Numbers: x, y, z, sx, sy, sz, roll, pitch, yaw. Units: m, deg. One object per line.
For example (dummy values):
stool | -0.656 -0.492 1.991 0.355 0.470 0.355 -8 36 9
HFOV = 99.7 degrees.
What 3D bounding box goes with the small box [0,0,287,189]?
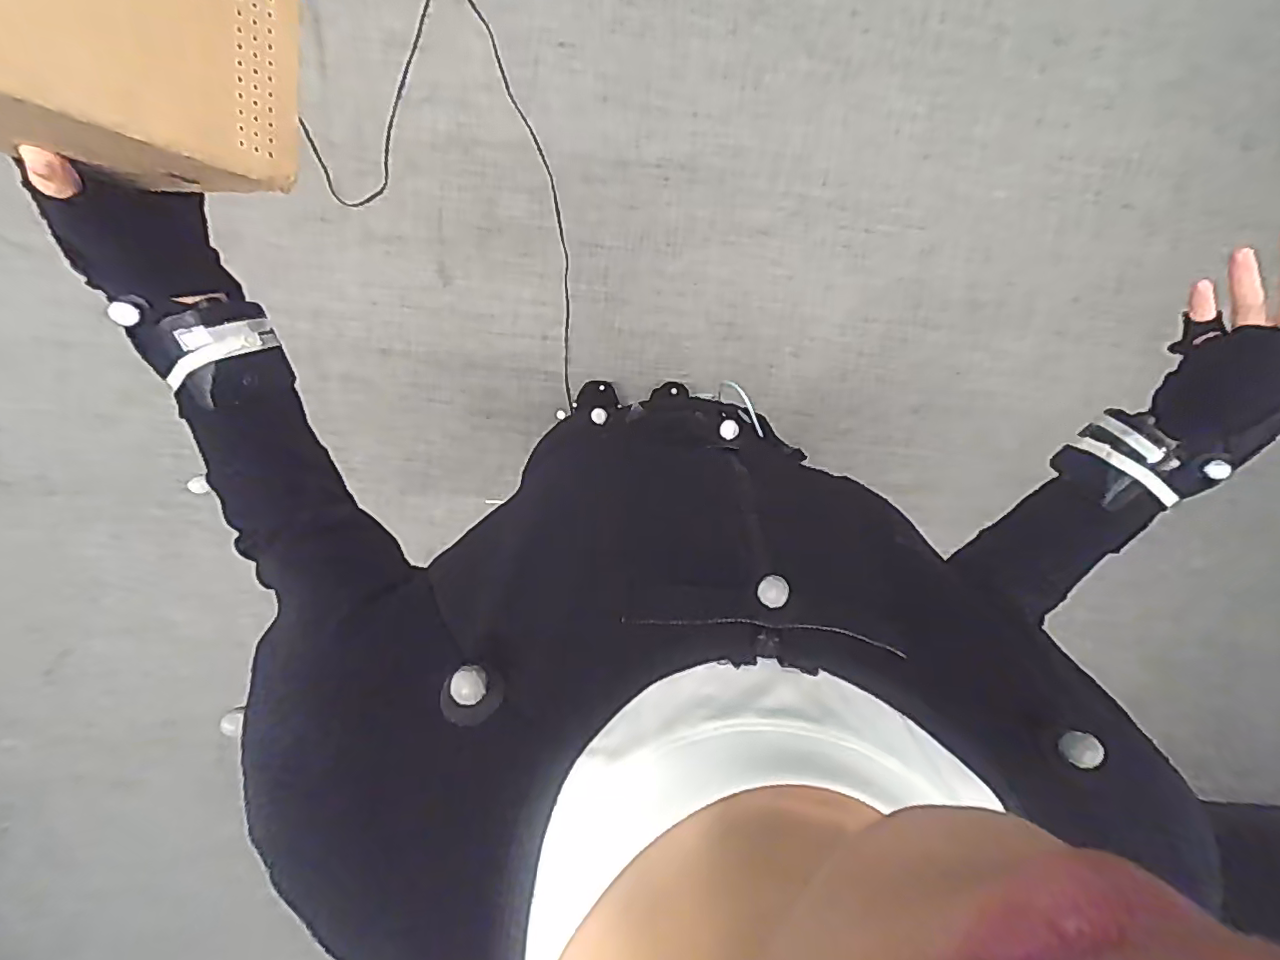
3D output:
small box | -0.259 -0.232 0.197 0.168 0.176 0.179 14 104 22
